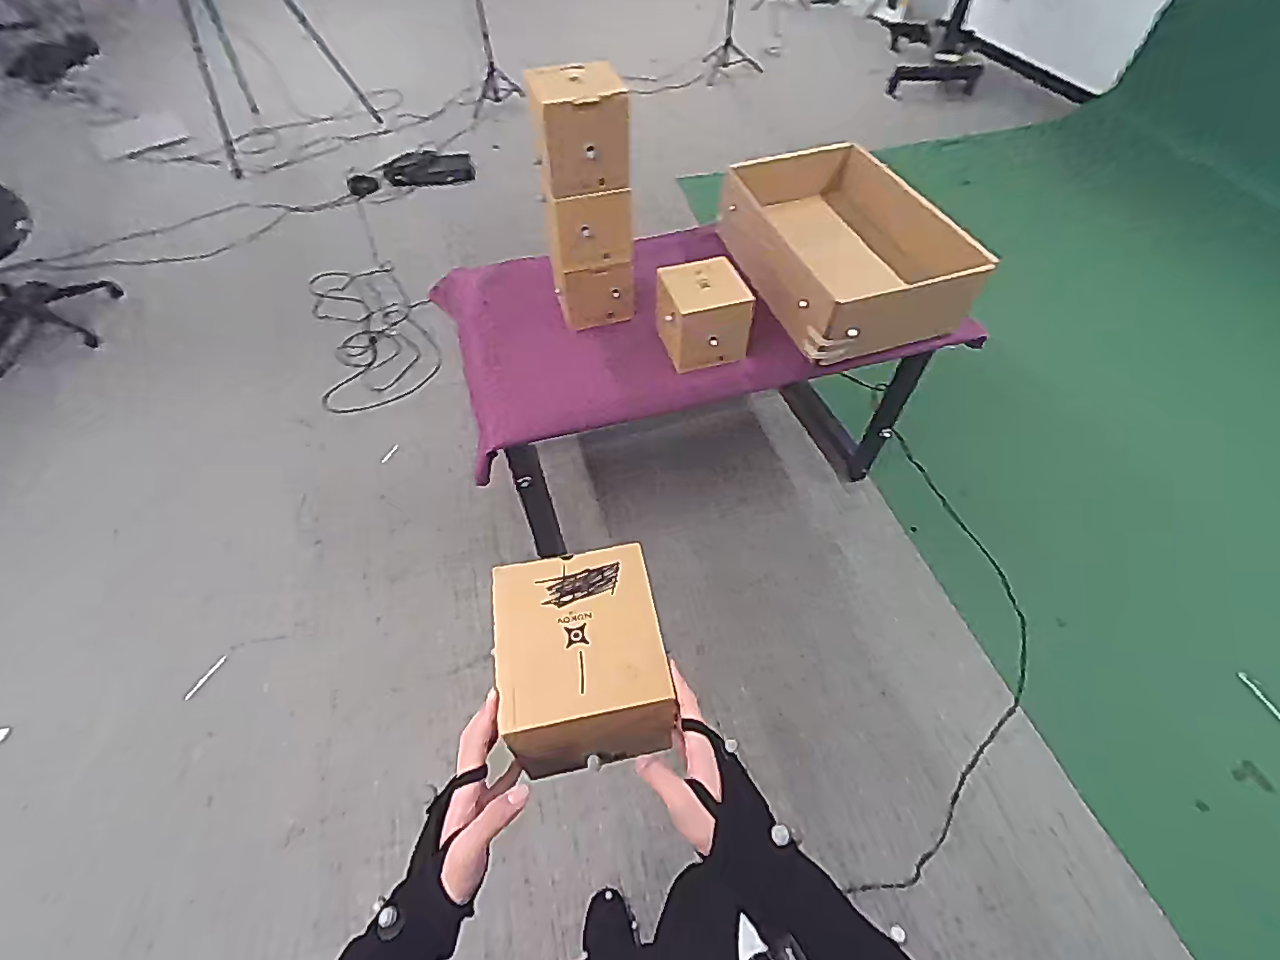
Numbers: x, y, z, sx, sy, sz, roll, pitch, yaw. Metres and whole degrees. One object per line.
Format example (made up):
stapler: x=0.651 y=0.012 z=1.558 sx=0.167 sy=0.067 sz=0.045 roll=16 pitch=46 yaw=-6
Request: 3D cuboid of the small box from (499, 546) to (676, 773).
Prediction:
small box: x=-0.059 y=0.202 z=0.609 sx=0.168 sy=0.176 sz=0.179 roll=-9 pitch=49 yaw=-6

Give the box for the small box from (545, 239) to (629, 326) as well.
small box: x=-0.127 y=-0.498 z=1.333 sx=0.168 sy=0.176 sz=0.179 roll=-14 pitch=56 yaw=-10

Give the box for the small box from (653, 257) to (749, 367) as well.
small box: x=0.133 y=-0.377 z=1.239 sx=0.168 sy=0.176 sz=0.179 roll=-14 pitch=55 yaw=-10

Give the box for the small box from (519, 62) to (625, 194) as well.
small box: x=-0.130 y=-0.687 z=1.068 sx=0.168 sy=0.176 sz=0.179 roll=-15 pitch=56 yaw=-11

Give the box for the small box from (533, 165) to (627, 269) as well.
small box: x=-0.128 y=-0.588 z=1.199 sx=0.168 sy=0.176 sz=0.179 roll=-15 pitch=56 yaw=-10
